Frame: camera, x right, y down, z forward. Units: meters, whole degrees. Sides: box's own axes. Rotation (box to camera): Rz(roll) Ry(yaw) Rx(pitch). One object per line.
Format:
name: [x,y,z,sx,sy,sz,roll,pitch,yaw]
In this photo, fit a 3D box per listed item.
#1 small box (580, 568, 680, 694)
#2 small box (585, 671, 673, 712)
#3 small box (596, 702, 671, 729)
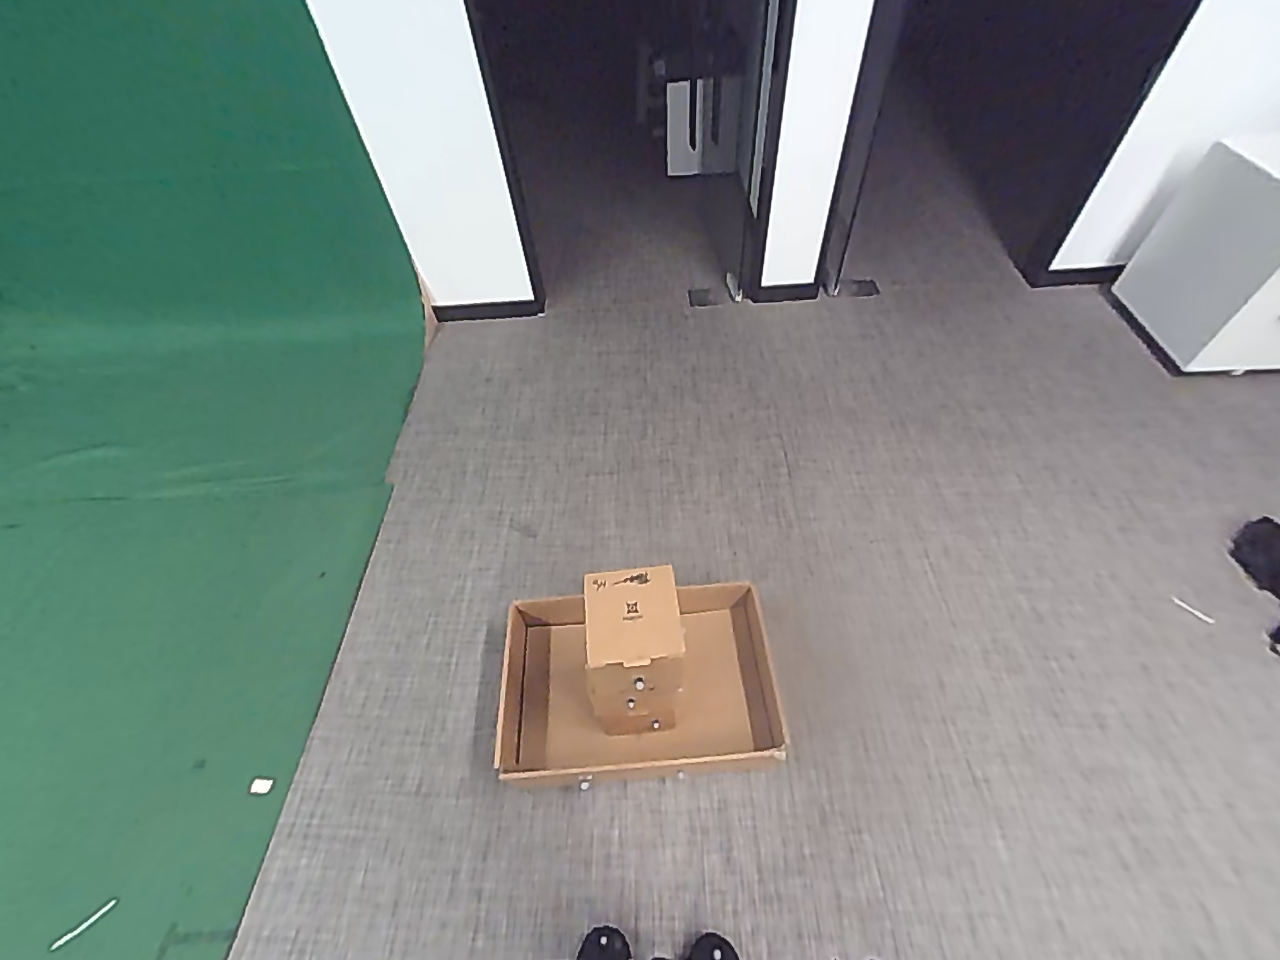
small box: [-0.018,0.293,1.029,0.168,0.176,0.179,-8,51,-2]
small box: [-0.021,0.388,1.159,0.179,0.176,0.168,-4,51,1]
small box: [-0.015,0.476,1.278,0.168,0.176,0.179,-5,50,-1]
